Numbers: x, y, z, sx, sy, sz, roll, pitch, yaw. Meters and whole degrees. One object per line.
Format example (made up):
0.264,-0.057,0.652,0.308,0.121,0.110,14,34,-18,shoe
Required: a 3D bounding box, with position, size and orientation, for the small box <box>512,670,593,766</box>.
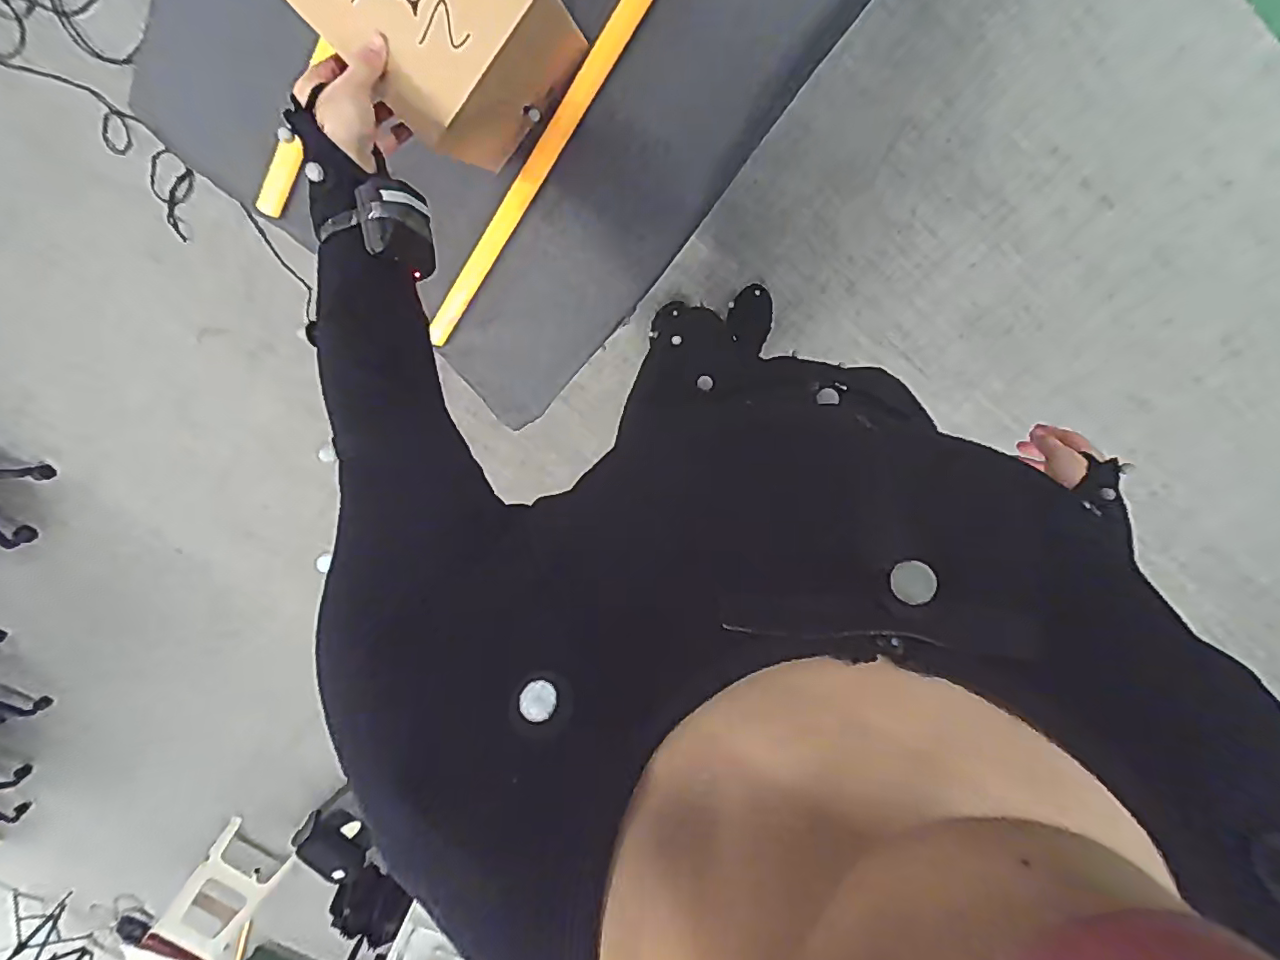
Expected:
-0.258,0.715,1.641,0.168,0.176,0.179,33,114,-7,small box
